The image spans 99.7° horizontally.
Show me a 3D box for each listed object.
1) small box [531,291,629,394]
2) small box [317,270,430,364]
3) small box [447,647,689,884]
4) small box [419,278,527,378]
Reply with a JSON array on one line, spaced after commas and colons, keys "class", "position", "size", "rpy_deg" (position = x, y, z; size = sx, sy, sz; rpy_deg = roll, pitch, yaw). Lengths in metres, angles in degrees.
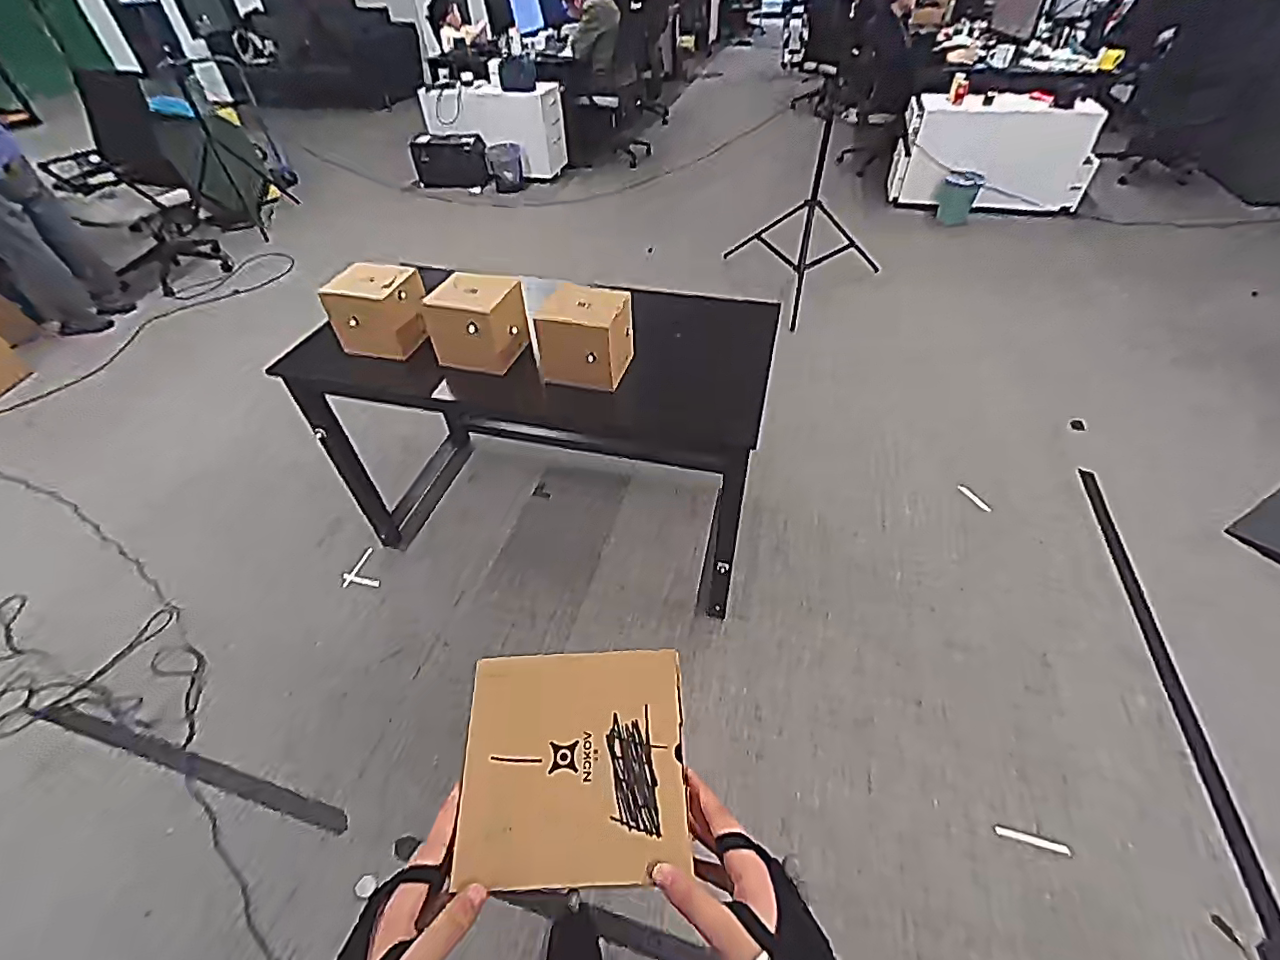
[{"class": "small box", "position": [-0.128, -0.316, 1.253], "size": [0.179, 0.176, 0.168], "rpy_deg": [9, 45, 13]}, {"class": "small box", "position": [-0.656, -0.409, 1.363], "size": [0.179, 0.176, 0.168], "rpy_deg": [8, 47, 10]}, {"class": "small box", "position": [-0.052, 0.261, 0.495], "size": [0.179, 0.176, 0.168], "rpy_deg": [-3, 56, 1]}, {"class": "small box", "position": [-0.392, -0.365, 1.309], "size": [0.179, 0.176, 0.168], "rpy_deg": [10, 46, 12]}]
